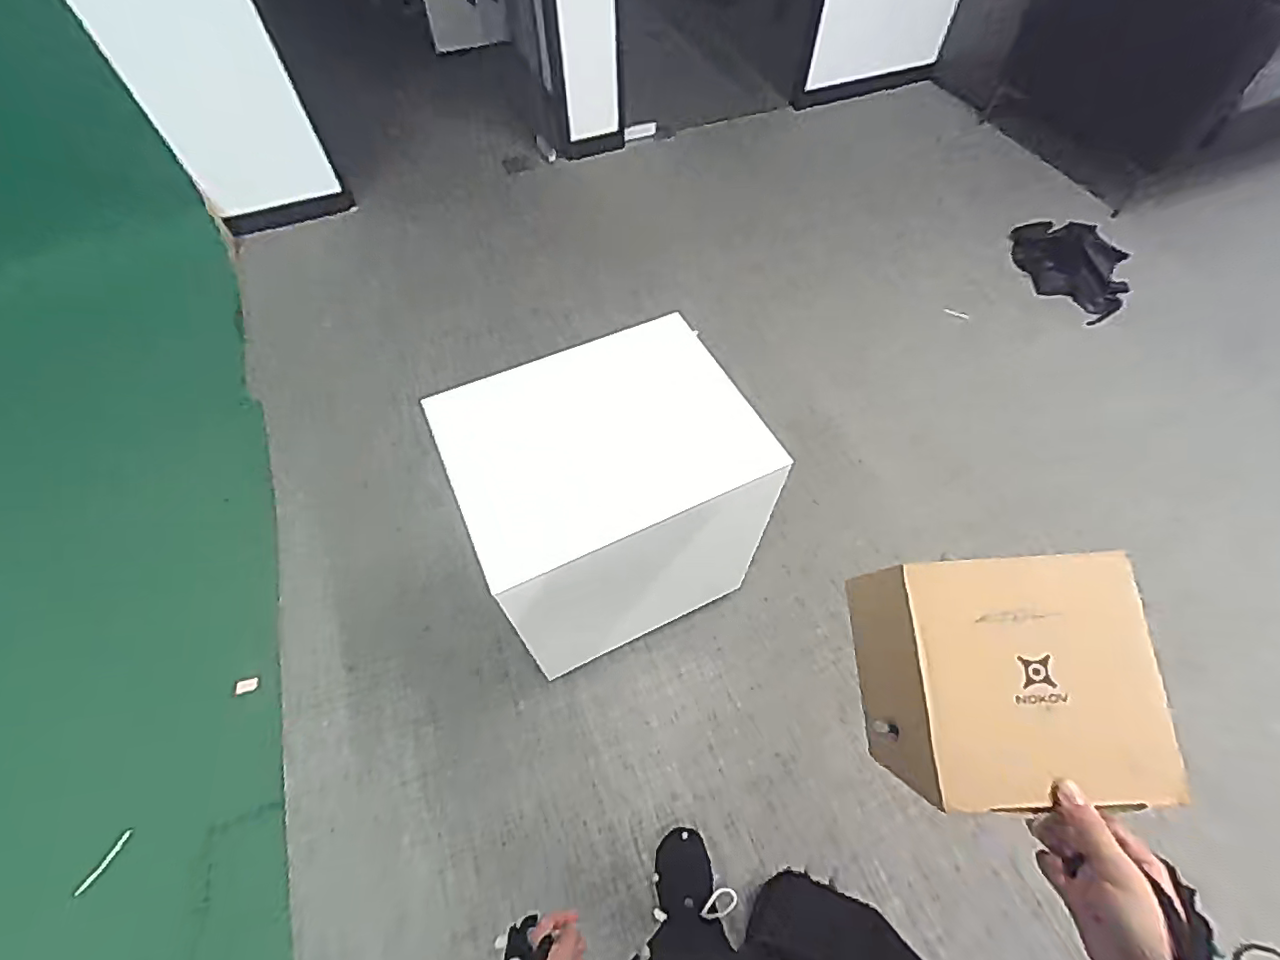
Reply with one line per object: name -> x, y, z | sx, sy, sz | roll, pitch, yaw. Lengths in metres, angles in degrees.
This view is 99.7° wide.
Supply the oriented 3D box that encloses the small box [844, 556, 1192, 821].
small box -> 0.291, 0.166, 0.465 | 0.168, 0.176, 0.179 | -5, 75, 4
